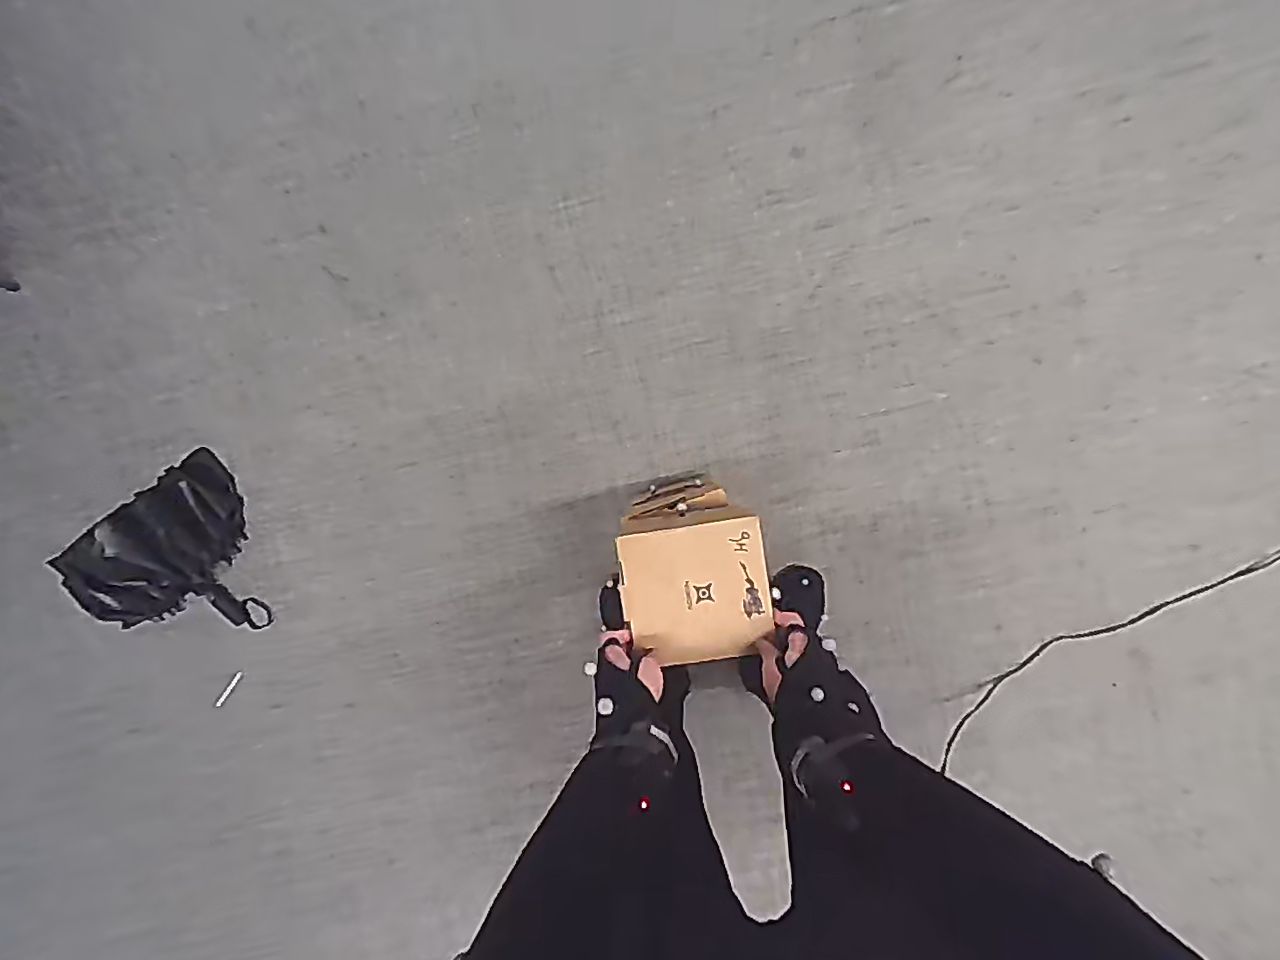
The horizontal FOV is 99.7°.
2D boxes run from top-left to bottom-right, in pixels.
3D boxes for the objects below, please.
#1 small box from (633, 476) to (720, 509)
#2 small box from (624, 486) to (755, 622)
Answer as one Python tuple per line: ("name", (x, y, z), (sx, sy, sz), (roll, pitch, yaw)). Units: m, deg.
("small box", (0.092, 0.095, 1.069), (0.168, 0.176, 0.179), (-17, 93, 6))
("small box", (0.080, 0.112, 0.906), (0.168, 0.176, 0.179), (-17, 92, 6))
